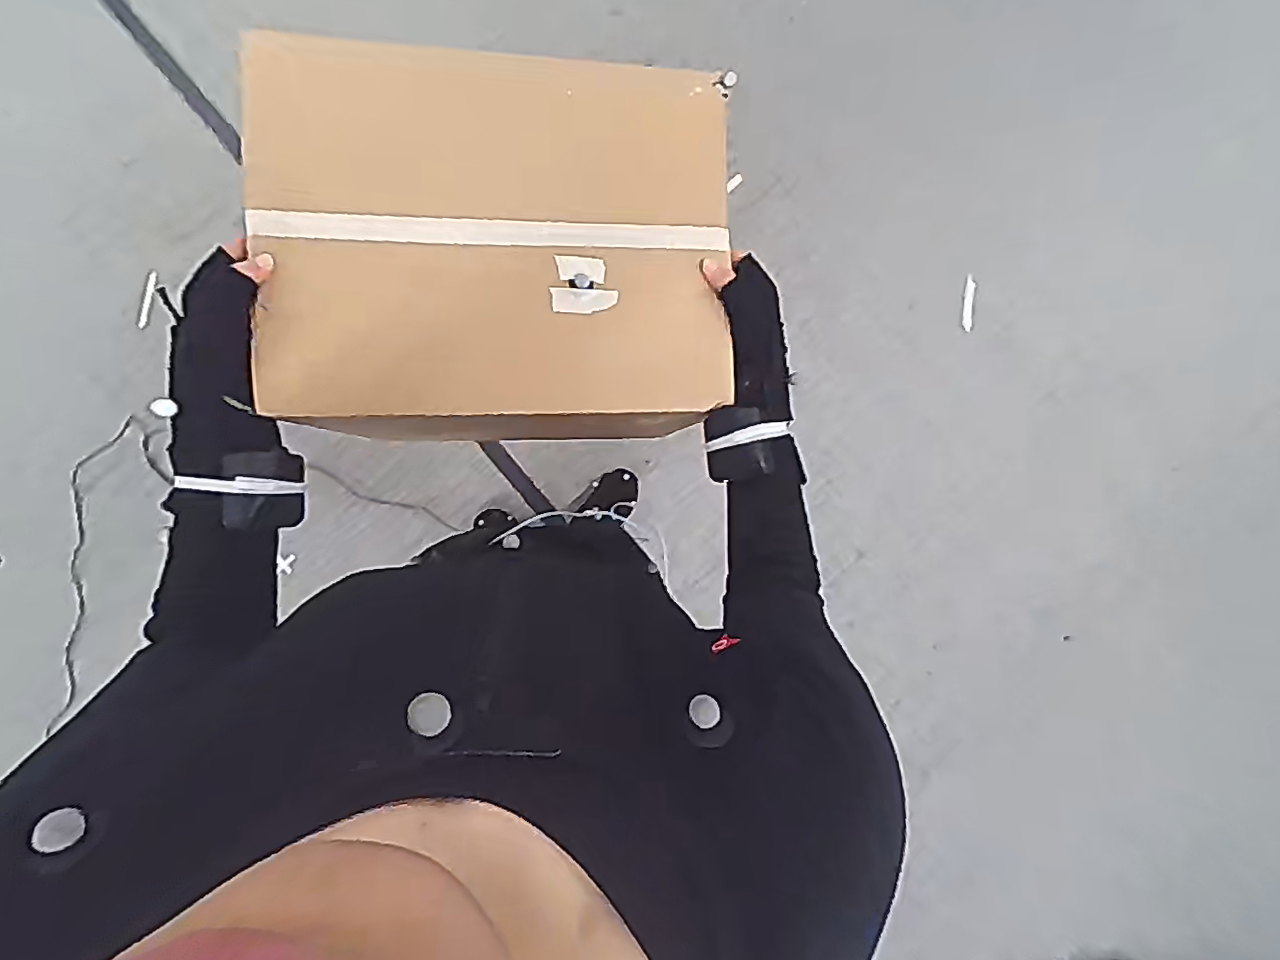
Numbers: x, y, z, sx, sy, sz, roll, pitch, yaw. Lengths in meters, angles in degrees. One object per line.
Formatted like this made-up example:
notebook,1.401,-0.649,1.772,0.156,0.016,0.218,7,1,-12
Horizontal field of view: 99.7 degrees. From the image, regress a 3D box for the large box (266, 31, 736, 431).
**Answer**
large box,-0.135,-0.227,0.625,0.408,0.320,0.320,-1,92,-10
